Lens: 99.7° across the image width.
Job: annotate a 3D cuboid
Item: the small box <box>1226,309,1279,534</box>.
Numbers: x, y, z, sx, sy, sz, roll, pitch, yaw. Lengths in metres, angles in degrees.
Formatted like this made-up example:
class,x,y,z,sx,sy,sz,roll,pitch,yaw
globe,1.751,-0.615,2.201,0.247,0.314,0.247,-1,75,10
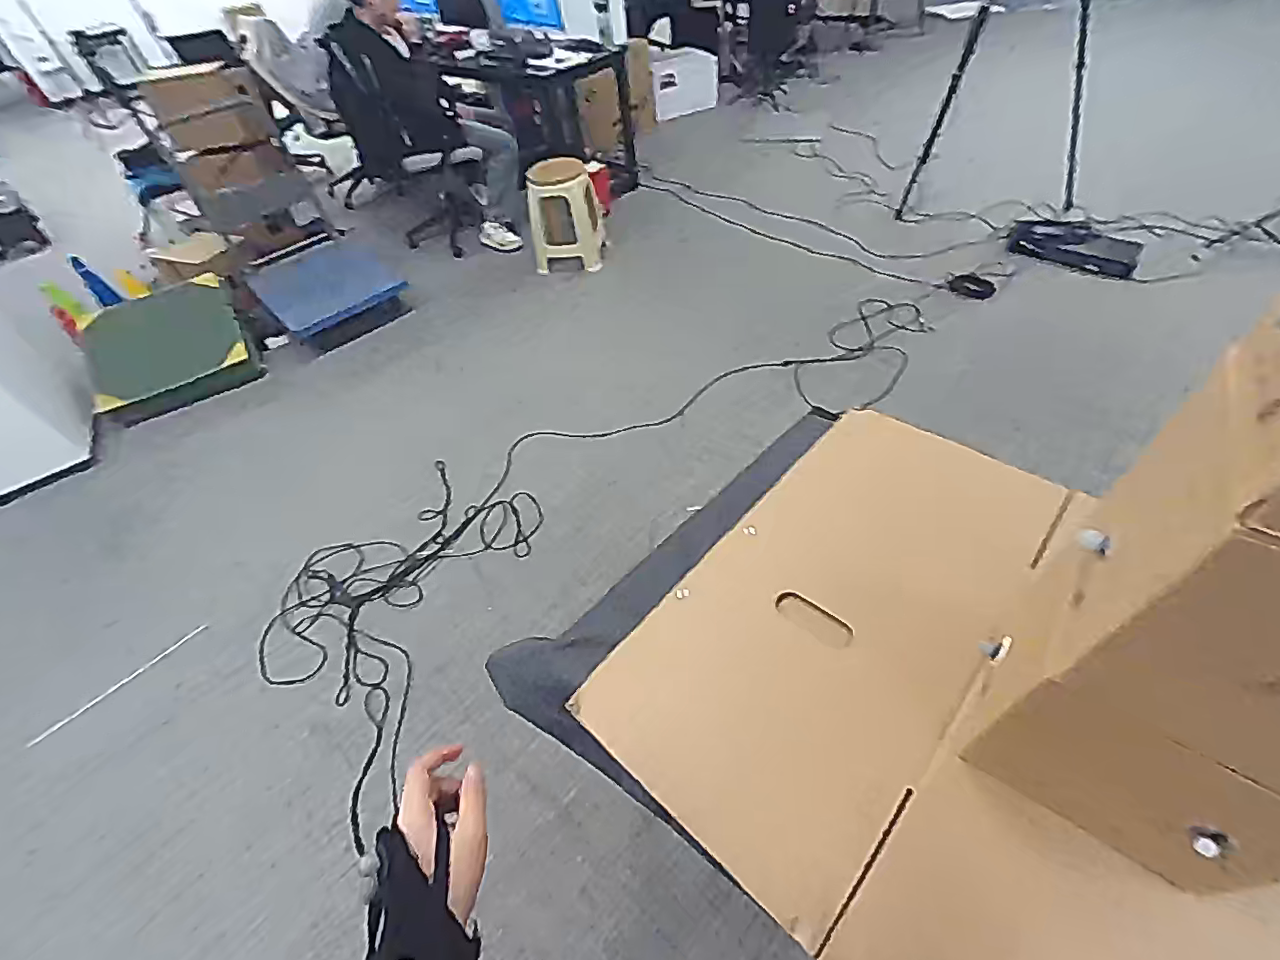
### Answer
class,x,y,z,sx,sy,sz,roll,pitch,yaw
small box,0.383,-0.051,0.195,0.179,0.176,0.168,25,53,25

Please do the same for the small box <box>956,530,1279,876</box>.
class,x,y,z,sx,sy,sz,roll,pitch,yaw
small box,0.392,0.175,0.431,0.179,0.176,0.168,26,53,26
